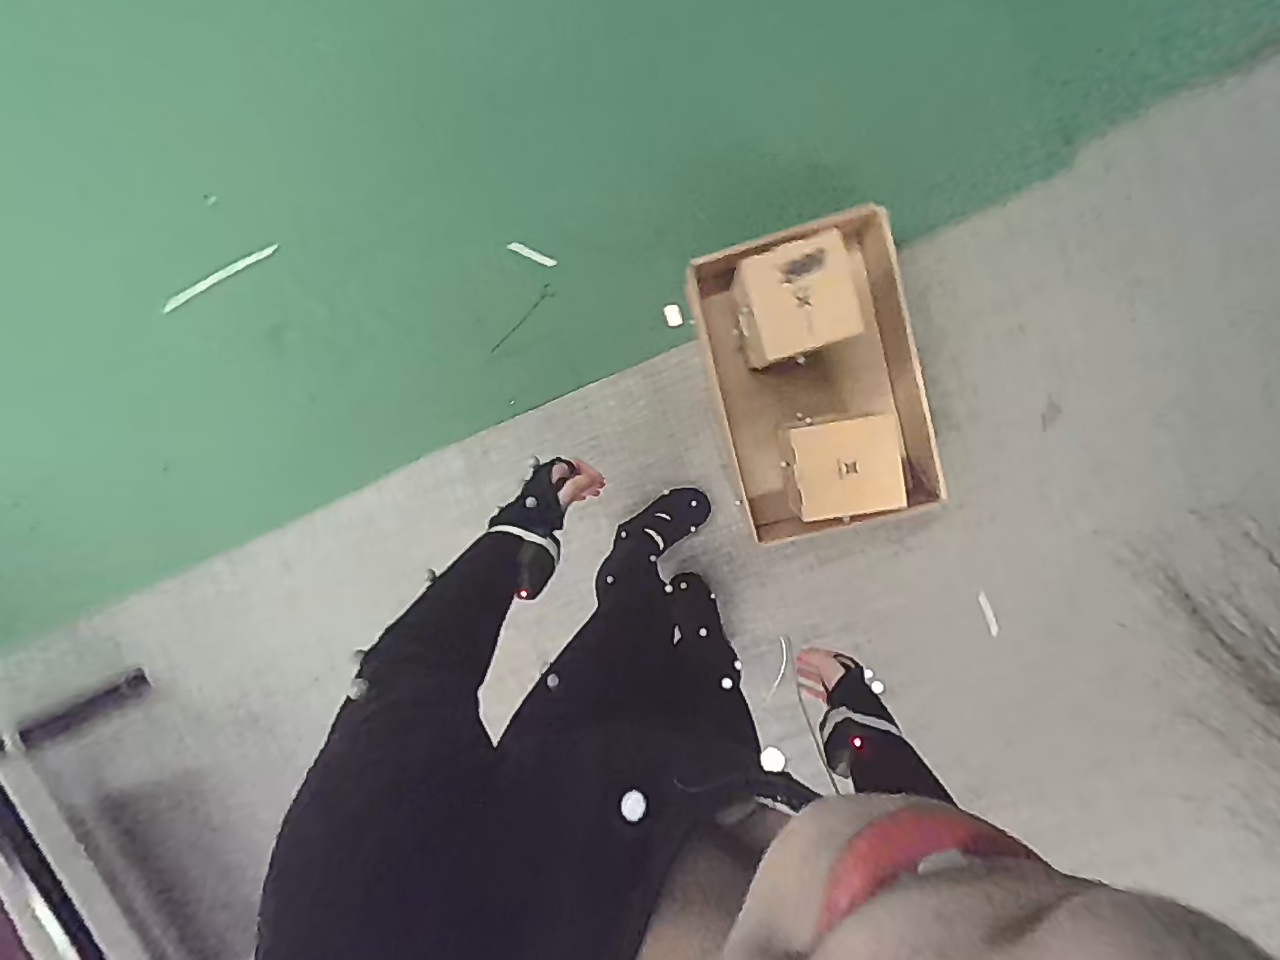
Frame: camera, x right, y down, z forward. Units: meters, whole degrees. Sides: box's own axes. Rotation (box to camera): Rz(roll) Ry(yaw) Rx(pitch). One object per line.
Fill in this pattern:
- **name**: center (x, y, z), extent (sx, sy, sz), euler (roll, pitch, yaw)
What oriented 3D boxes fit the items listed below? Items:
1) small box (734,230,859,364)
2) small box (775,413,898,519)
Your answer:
- **small box**: center (0.274, -0.320, 0.983), extent (0.168, 0.176, 0.179), euler (-15, 97, 7)
- **small box**: center (0.360, -0.033, 1.015), extent (0.179, 0.176, 0.168), euler (-9, 96, 9)
